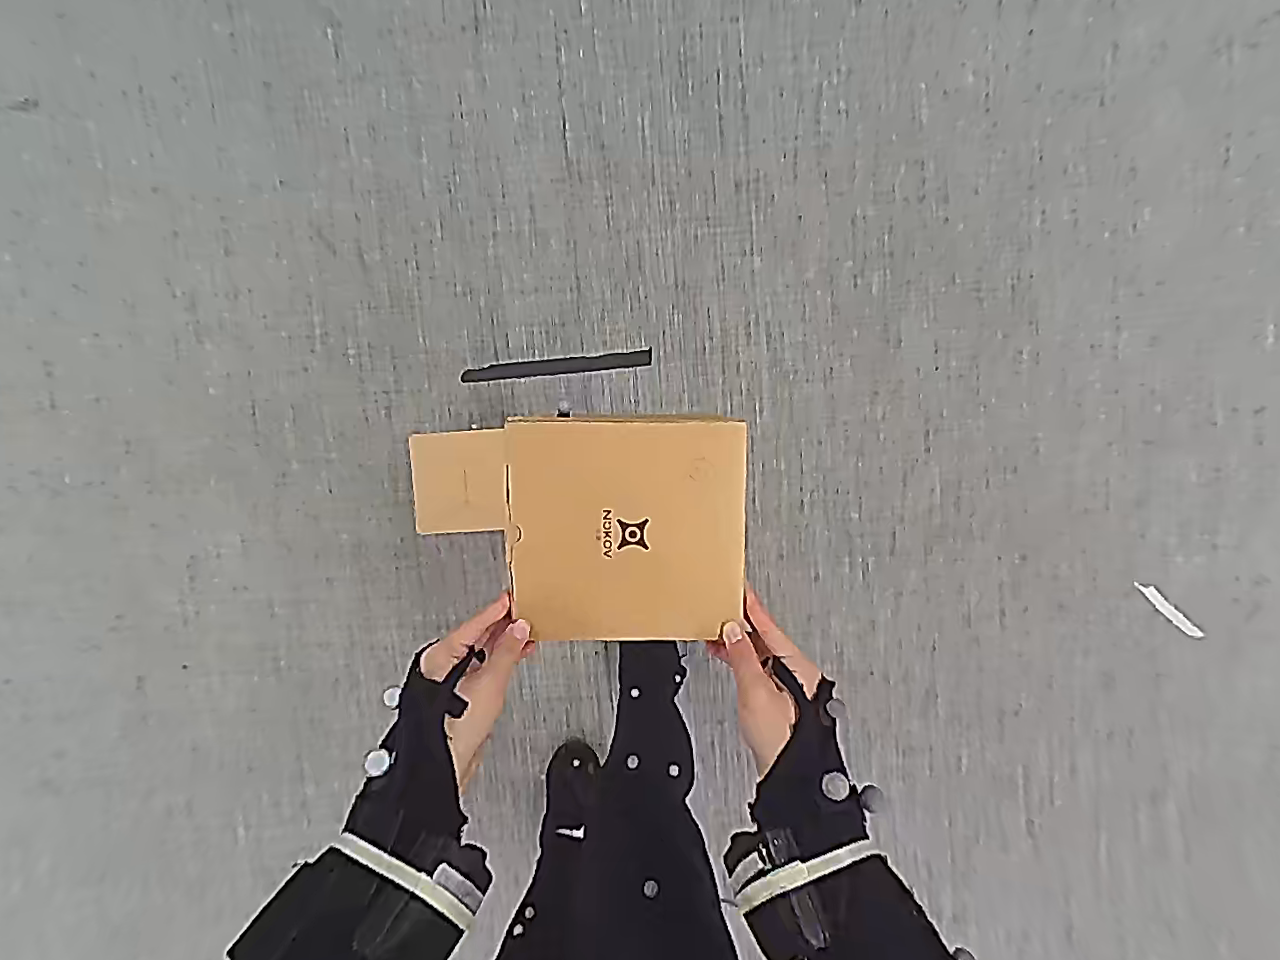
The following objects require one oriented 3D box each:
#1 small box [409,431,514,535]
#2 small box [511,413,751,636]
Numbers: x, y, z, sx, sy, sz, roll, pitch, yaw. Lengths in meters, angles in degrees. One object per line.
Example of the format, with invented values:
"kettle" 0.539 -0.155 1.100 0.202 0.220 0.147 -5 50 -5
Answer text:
"small box" -0.280 0.000 0.955 0.179 0.176 0.168 -3 94 1
"small box" -0.008 0.025 0.479 0.179 0.176 0.168 0 98 0
